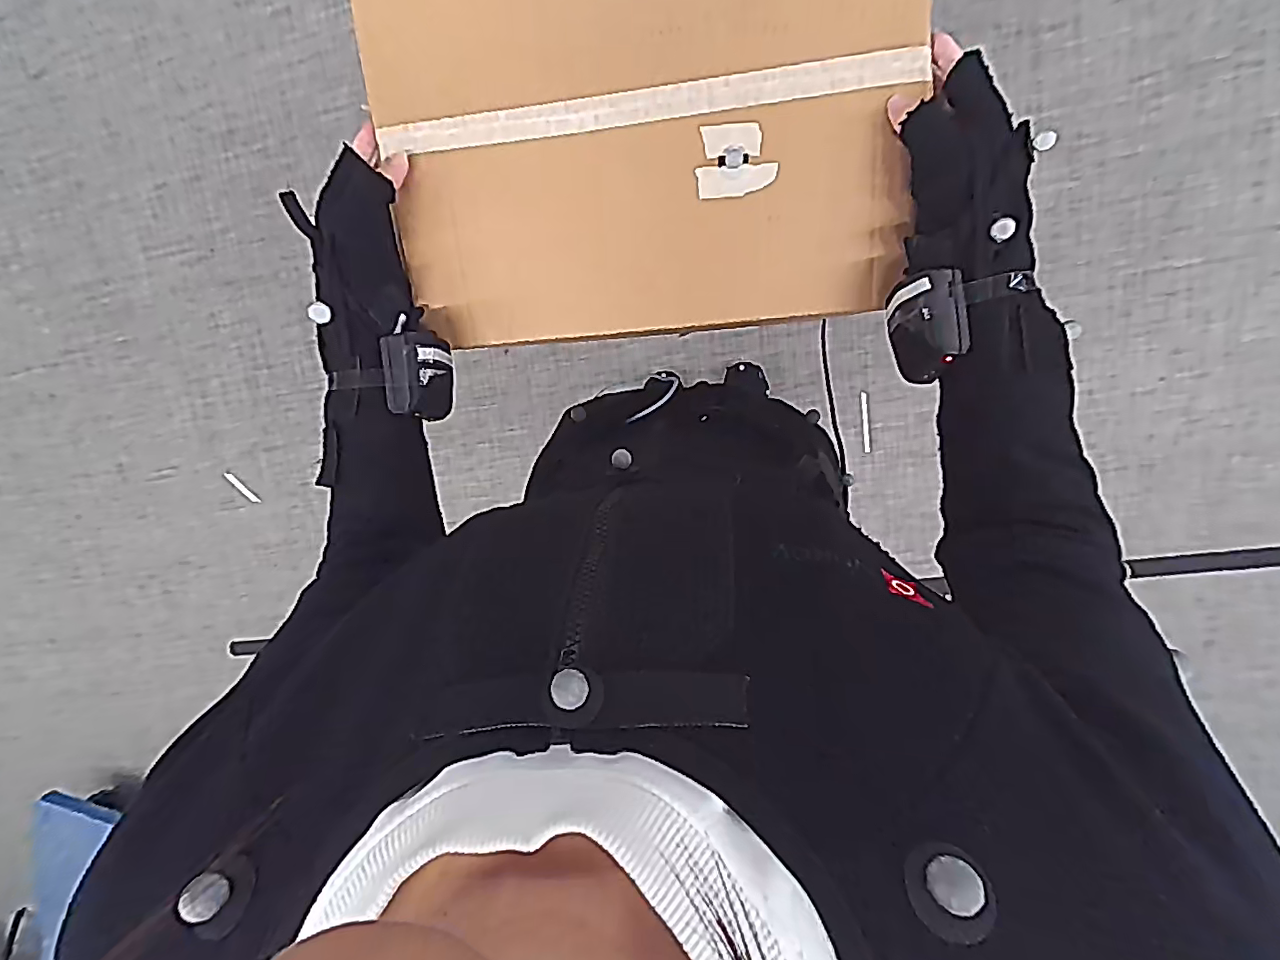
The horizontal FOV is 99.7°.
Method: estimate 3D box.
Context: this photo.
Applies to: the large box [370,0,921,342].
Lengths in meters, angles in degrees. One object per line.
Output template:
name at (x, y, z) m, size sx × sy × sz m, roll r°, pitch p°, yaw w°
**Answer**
large box at (0.014, -0.320, 0.550) m, size 0.408 × 0.320 × 0.320 m, roll -4°, pitch 105°, yaw 6°
